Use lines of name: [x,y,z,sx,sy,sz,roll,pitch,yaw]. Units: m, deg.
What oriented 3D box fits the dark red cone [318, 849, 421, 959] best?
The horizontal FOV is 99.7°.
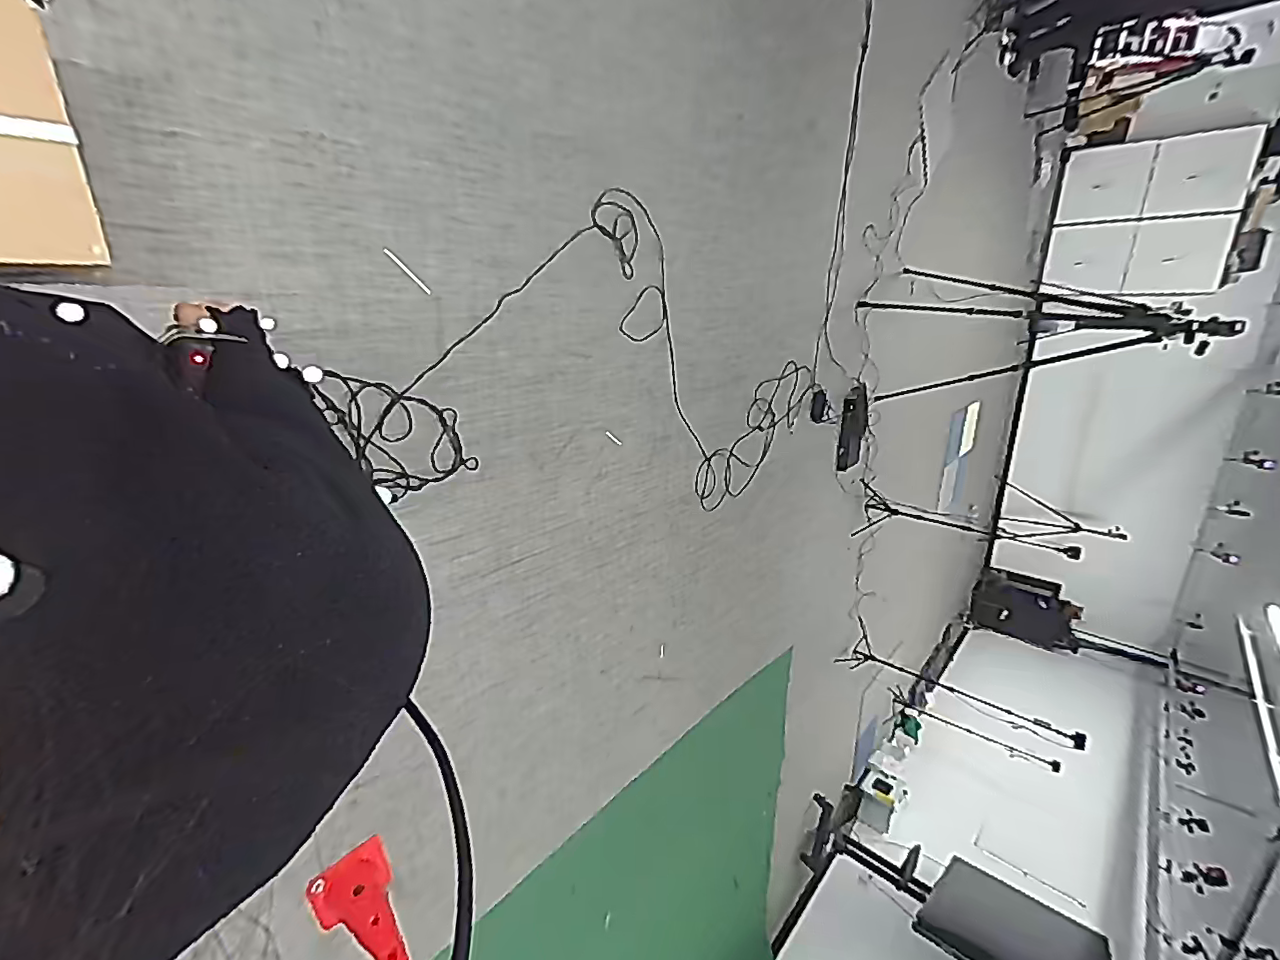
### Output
dark red cone: [-0.656,1.194,1.407,0.202,0.394,0.201,-26,123,-41]
